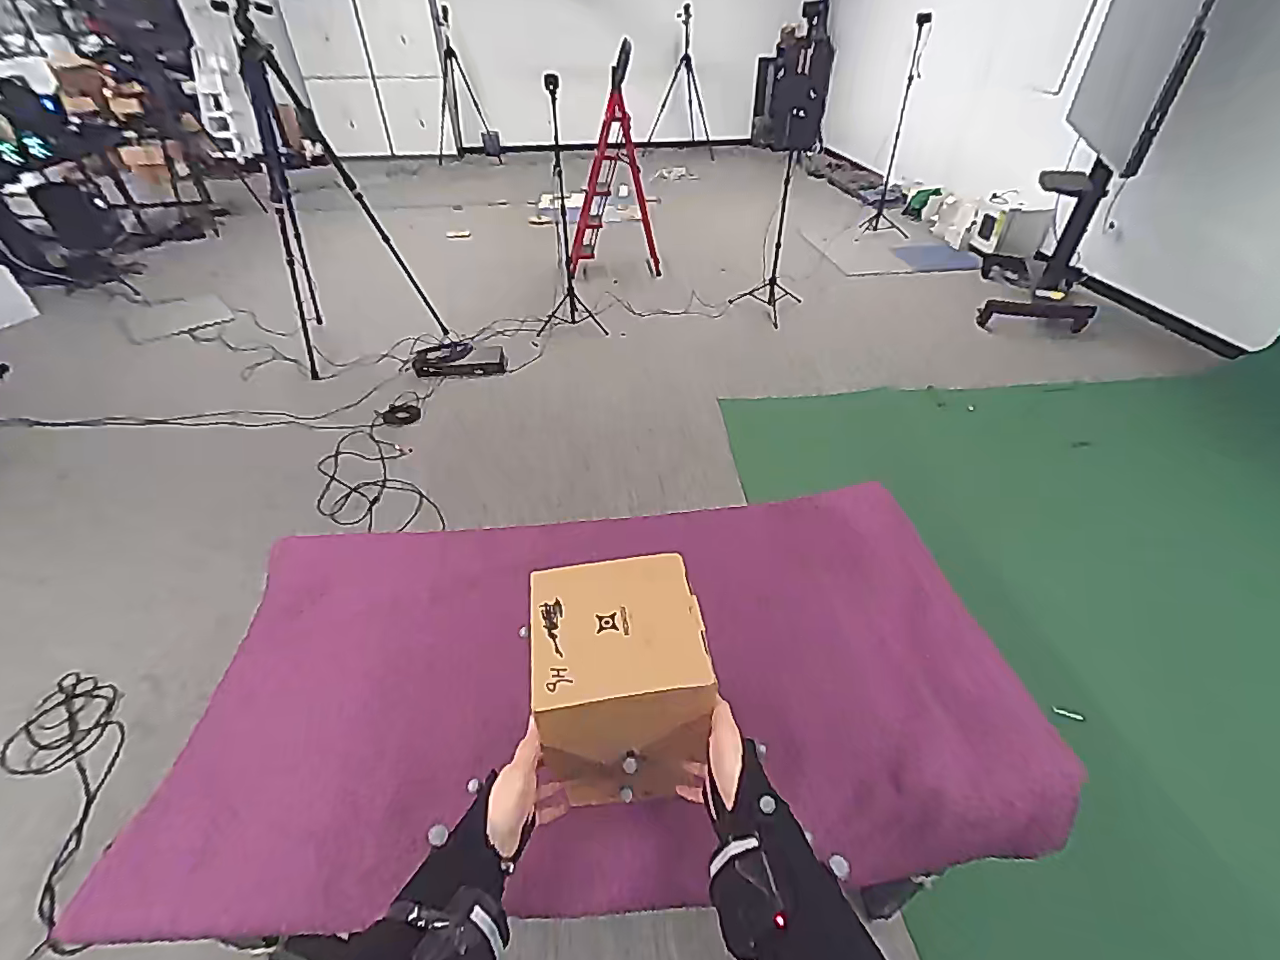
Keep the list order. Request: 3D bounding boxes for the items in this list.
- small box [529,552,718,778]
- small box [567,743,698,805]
[{"bbox_3d":[-0.025,0.203,0.600,0.179,0.176,0.168,-5,40,-6],"label":"small box"},{"bbox_3d":[-0.020,0.310,0.733,0.168,0.176,0.179,-3,41,-3],"label":"small box"}]
